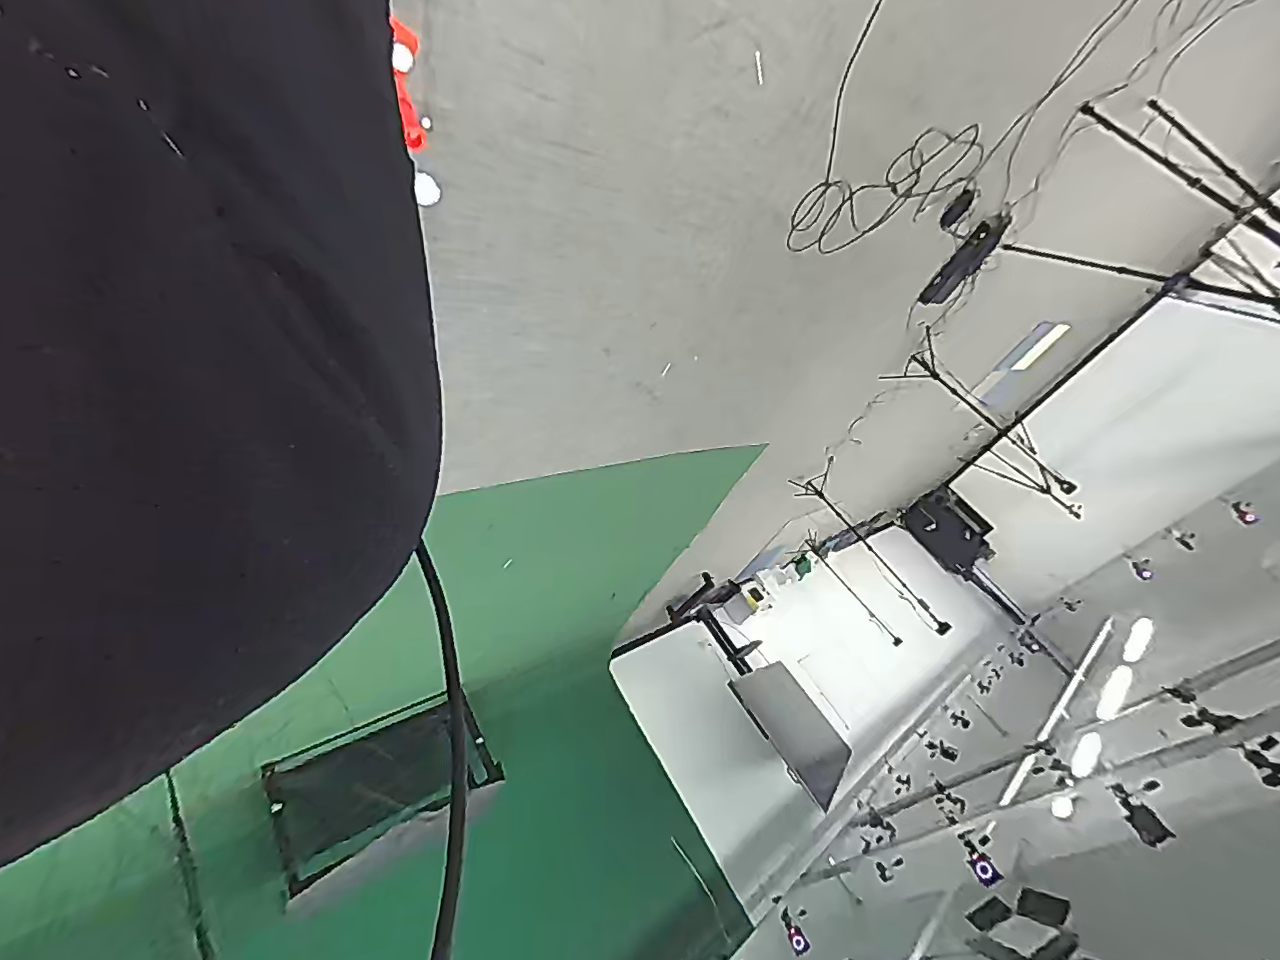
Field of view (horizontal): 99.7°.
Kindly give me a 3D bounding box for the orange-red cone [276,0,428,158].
[{"bbox_3d":[-0.441,-0.653,0.922,0.198,0.360,0.199,-46,153,21],"label":"orange-red cone"}]
